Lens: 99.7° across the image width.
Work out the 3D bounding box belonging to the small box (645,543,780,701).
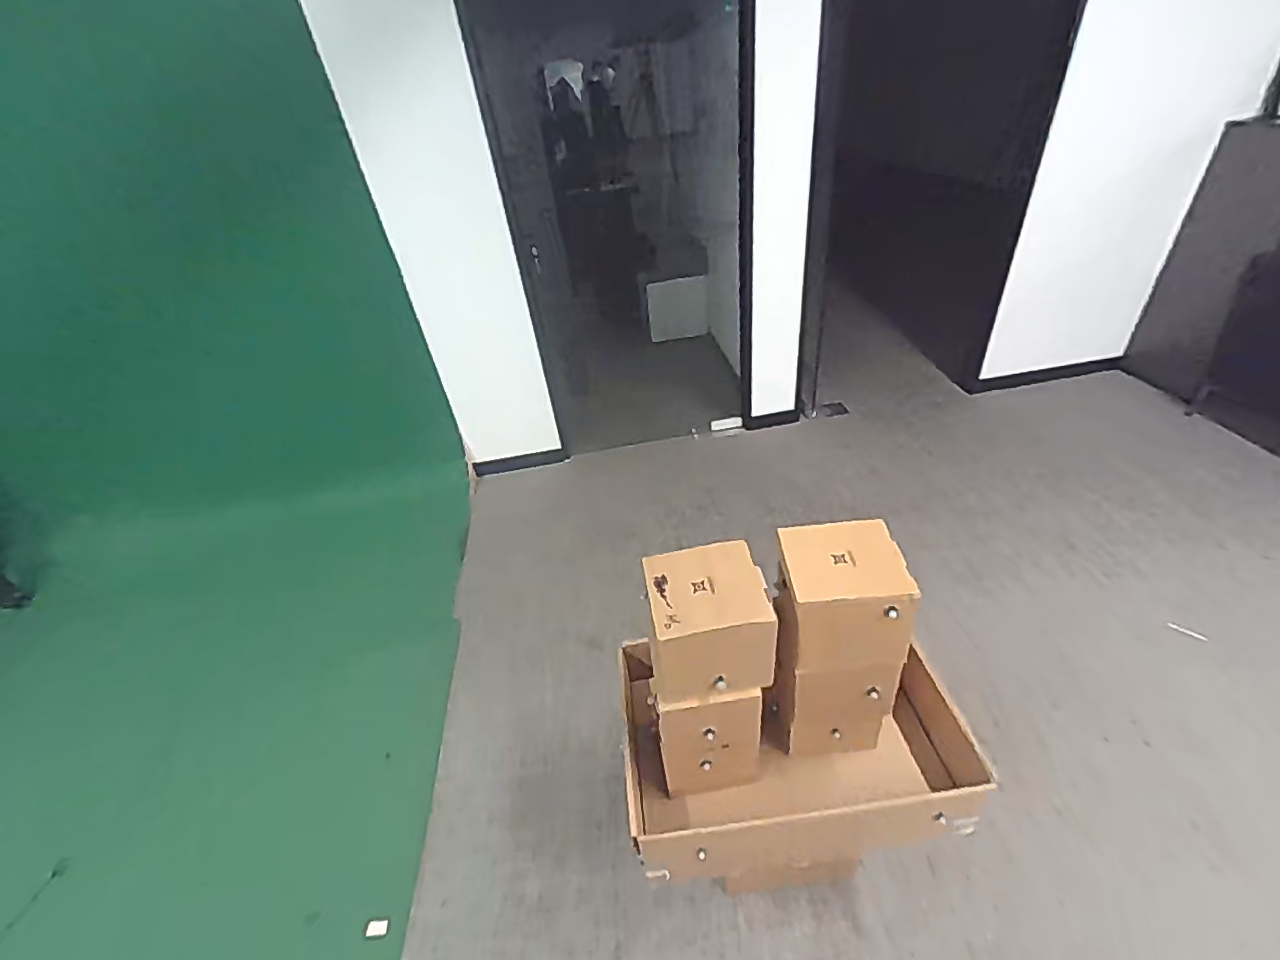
[{"bbox_3d":[0.109,0.226,0.864,0.179,0.176,0.168,-9,37,-2],"label":"small box"}]
